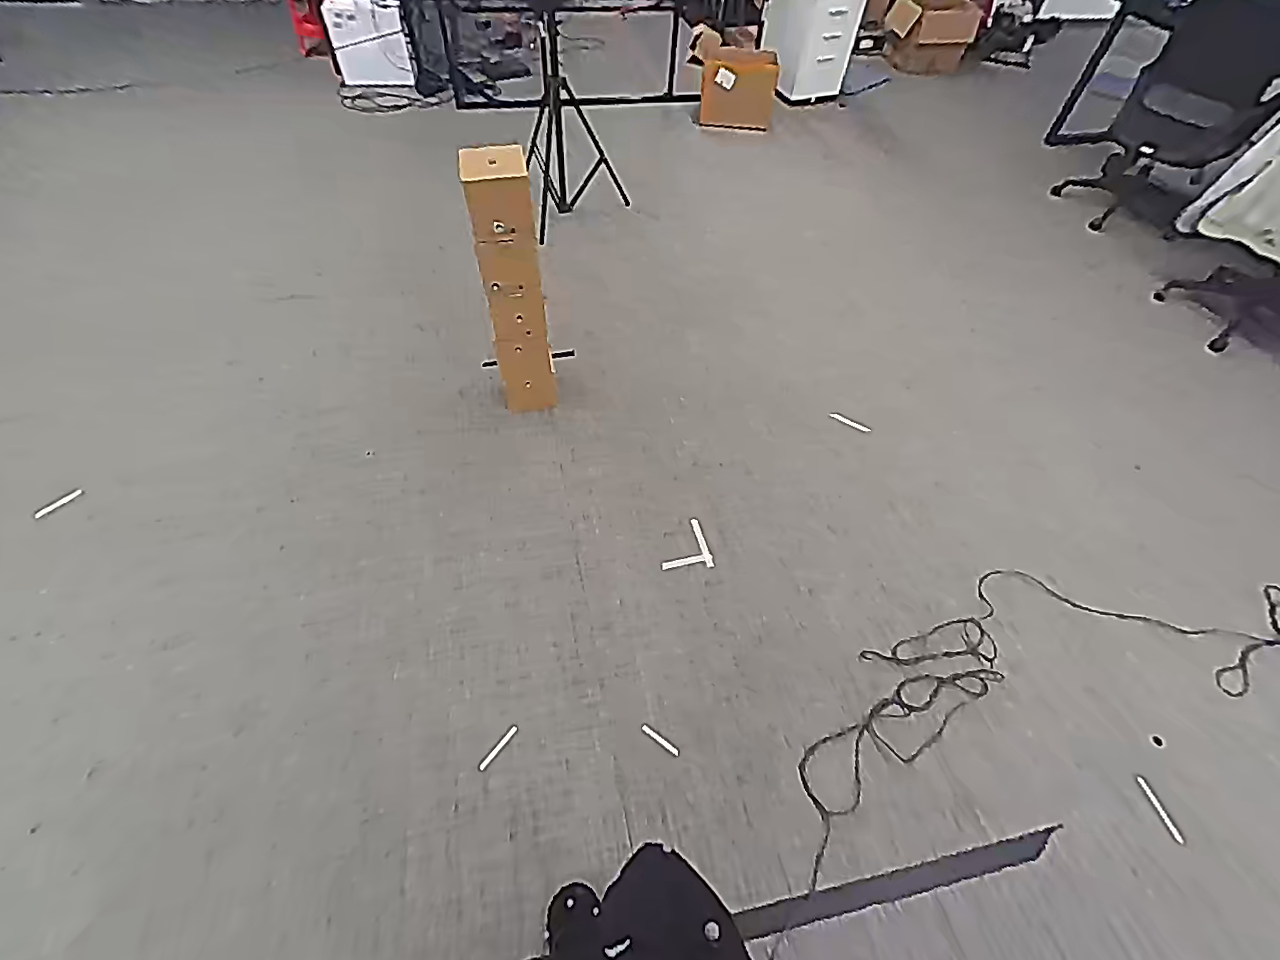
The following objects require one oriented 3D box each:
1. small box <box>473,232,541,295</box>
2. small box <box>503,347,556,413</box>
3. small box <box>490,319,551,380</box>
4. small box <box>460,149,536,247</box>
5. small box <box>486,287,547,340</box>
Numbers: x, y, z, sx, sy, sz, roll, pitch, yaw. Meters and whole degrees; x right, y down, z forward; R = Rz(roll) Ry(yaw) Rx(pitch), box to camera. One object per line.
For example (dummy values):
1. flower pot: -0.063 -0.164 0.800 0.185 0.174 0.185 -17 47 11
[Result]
1. small box: -0.384 -0.653 1.568 0.168 0.176 0.179 -8 54 -8
2. small box: -0.403 -0.363 1.964 0.179 0.176 0.168 -9 55 -9
3. small box: -0.402 -0.456 1.829 0.179 0.176 0.168 -7 56 -8
4. small box: -0.375 -0.749 1.437 0.168 0.176 0.179 -11 56 -9
5. small box: -0.387 -0.555 1.700 0.168 0.176 0.179 -8 56 -8
